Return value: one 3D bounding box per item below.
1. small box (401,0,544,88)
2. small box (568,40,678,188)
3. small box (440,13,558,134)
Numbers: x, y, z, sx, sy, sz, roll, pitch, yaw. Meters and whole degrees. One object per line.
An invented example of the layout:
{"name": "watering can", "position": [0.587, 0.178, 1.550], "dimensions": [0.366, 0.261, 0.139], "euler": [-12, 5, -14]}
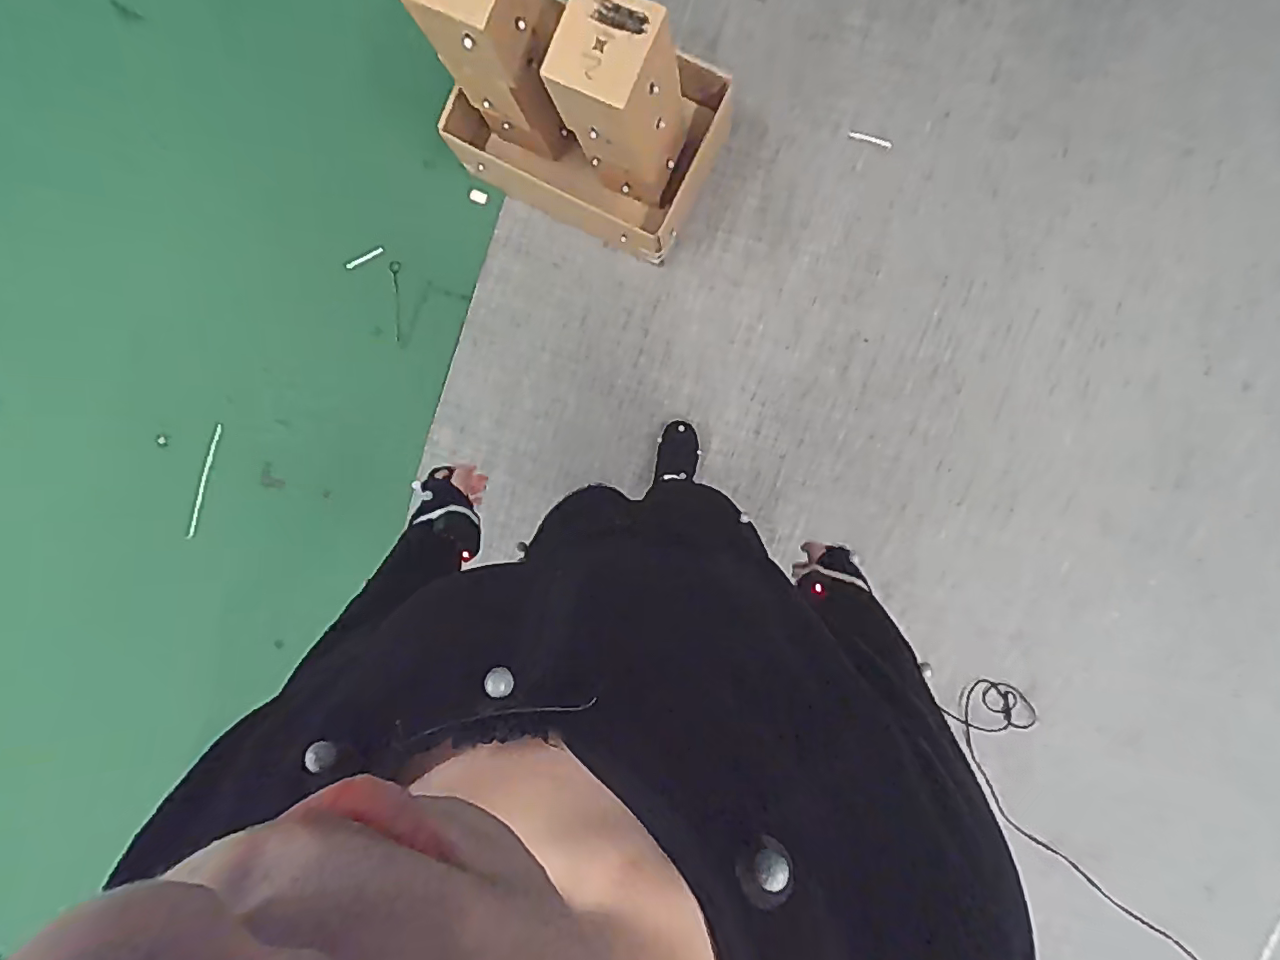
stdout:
{"name": "small box", "position": [-0.303, -0.885, 1.013], "dimensions": [0.179, 0.176, 0.168], "euler": [26, 97, 3]}
{"name": "small box", "position": [-0.026, -0.765, 1.151], "dimensions": [0.168, 0.176, 0.179], "euler": [26, 96, 5]}
{"name": "small box", "position": [-0.295, -0.909, 1.177], "dimensions": [0.168, 0.176, 0.179], "euler": [27, 98, 3]}
